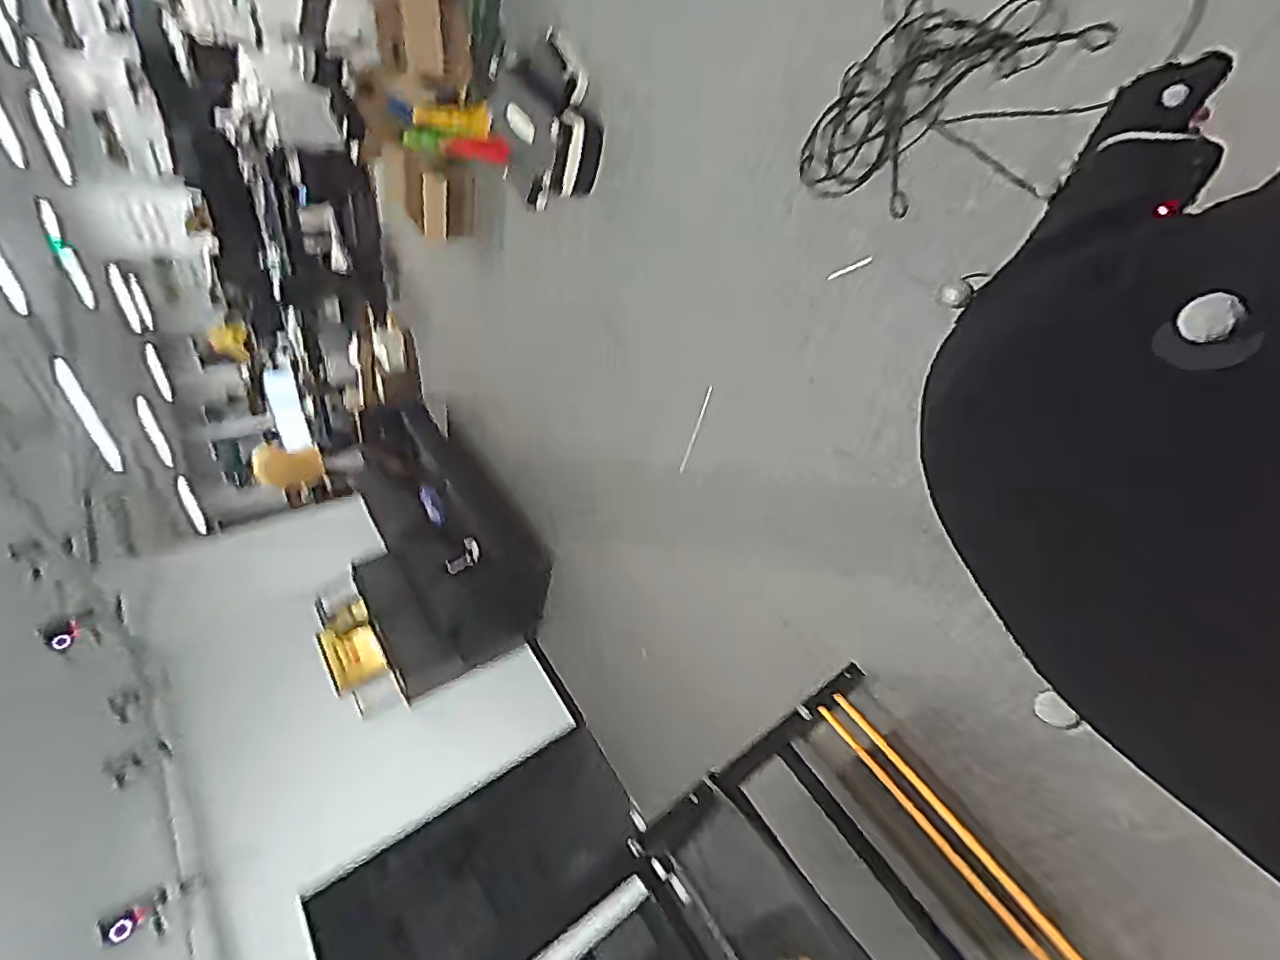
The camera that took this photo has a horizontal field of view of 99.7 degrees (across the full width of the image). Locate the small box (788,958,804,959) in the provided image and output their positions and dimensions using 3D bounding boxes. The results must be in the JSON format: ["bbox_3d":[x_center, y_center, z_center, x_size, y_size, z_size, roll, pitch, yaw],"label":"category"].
[{"bbox_3d":[0.393,1.373,1.382,0.168,0.176,0.179,49,142,30],"label":"small box"}]
